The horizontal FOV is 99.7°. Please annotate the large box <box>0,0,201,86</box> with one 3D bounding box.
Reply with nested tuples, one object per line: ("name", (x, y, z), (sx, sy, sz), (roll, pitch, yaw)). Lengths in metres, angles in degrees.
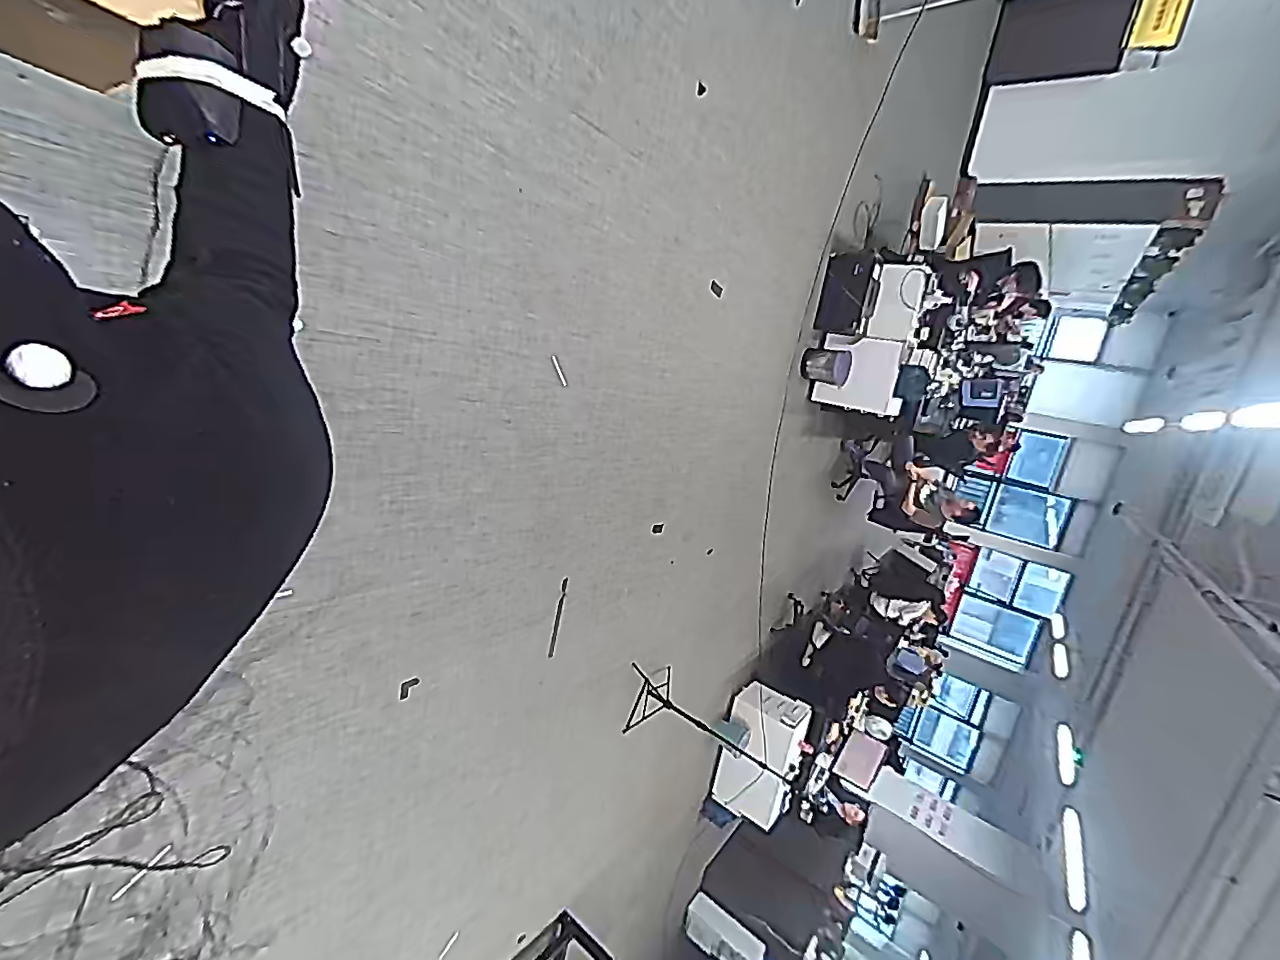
("large box", (-0.522, -0.492, 0.284), (0.408, 0.320, 0.320), (-2, 111, -55))
